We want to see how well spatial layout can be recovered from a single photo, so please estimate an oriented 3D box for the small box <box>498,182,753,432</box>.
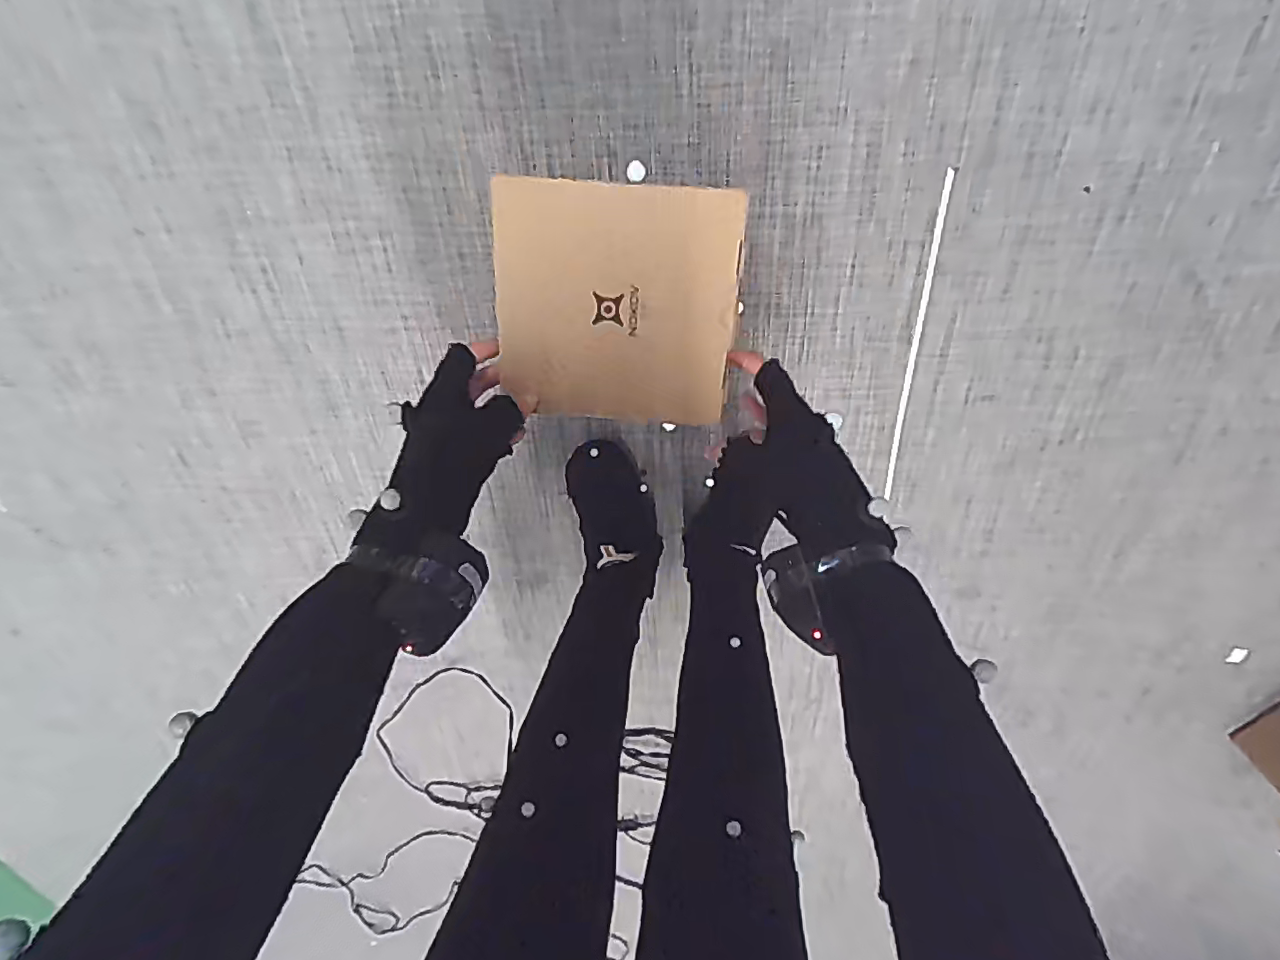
[{"bbox_3d":[-0.011,-0.153,0.470,0.179,0.176,0.168,5,115,1],"label":"small box"}]
